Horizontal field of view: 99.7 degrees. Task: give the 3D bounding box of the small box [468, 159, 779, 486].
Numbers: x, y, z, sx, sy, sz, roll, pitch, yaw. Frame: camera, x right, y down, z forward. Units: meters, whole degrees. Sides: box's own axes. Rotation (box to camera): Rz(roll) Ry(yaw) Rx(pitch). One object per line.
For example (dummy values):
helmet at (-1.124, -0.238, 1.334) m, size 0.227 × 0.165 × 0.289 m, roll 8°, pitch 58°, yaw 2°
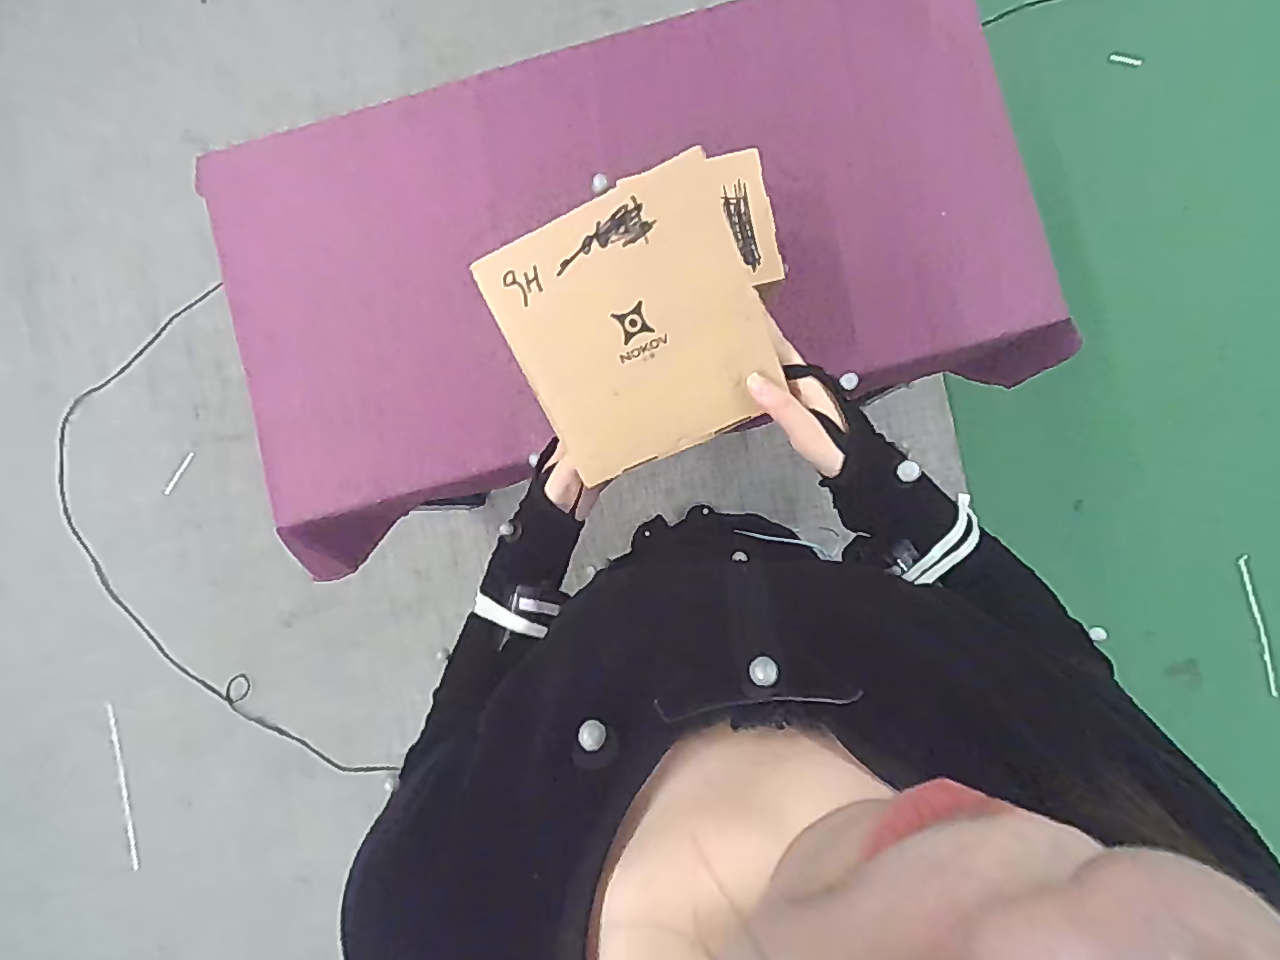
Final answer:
small box at (-0.006, -0.126, 0.446) m, size 0.168 × 0.176 × 0.179 m, roll -23°, pitch 109°, yaw 8°
